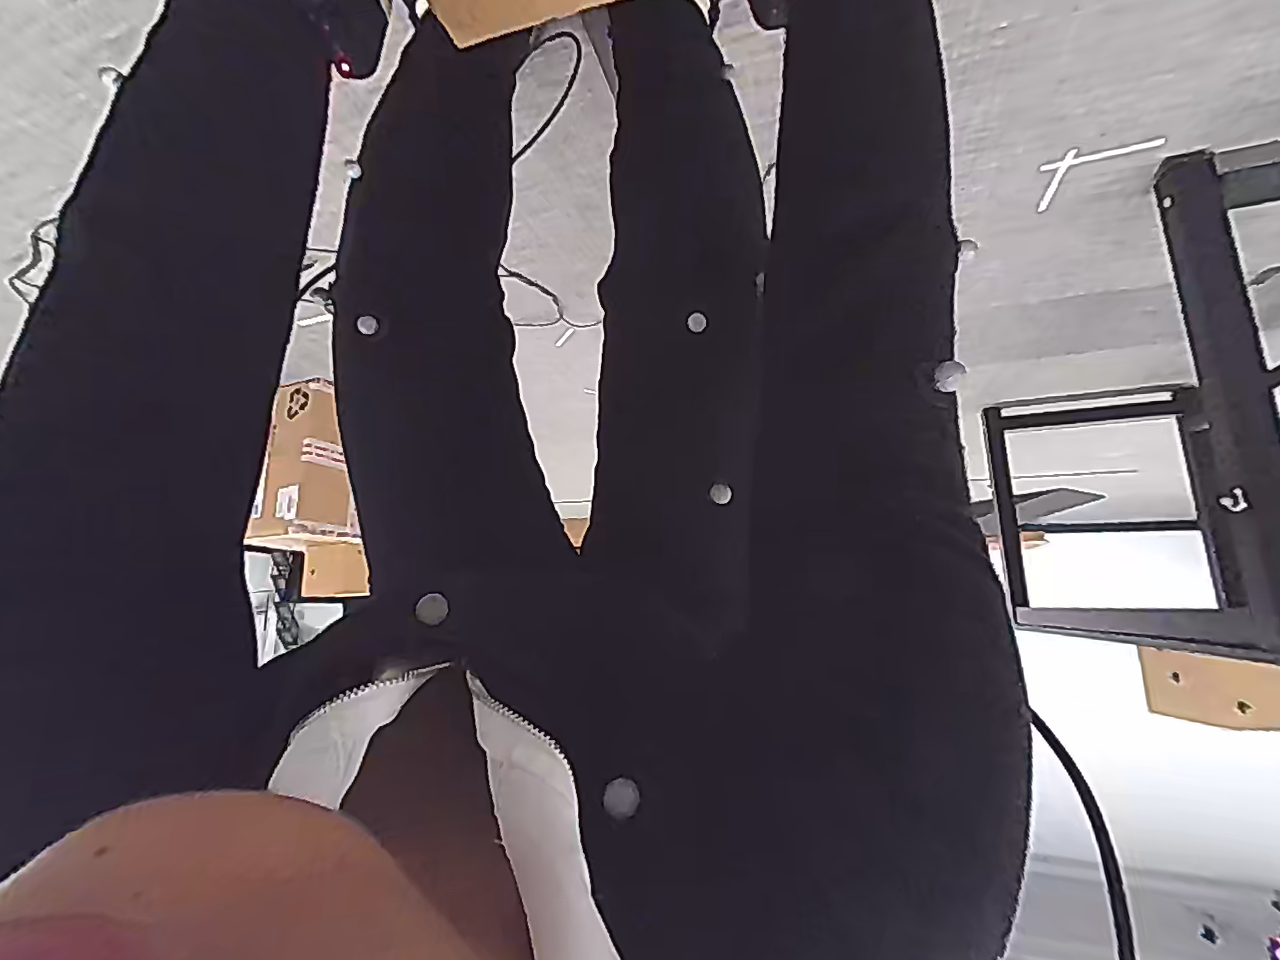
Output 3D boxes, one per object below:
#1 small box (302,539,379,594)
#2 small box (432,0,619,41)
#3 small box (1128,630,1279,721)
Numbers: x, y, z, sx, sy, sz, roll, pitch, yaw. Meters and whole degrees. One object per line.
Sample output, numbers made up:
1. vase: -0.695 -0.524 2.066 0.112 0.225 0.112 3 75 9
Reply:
1. small box: -1.020 0.300 1.857 0.179 0.176 0.168 -8 167 18
2. small box: -0.052 -0.378 0.264 0.179 0.176 0.168 -3 167 15
3. small box: 1.215 0.413 1.167 0.179 0.176 0.168 0 168 1
